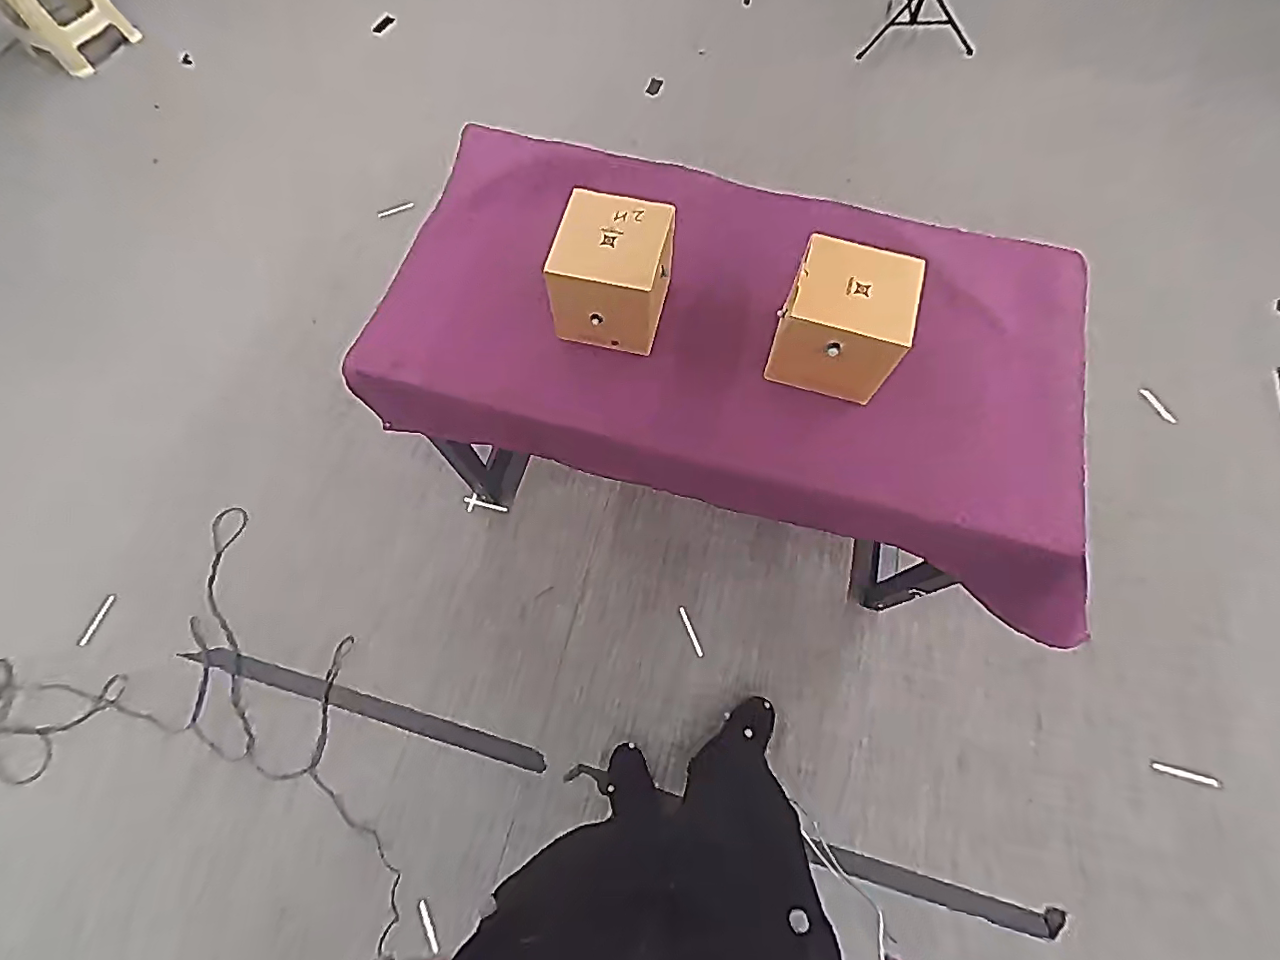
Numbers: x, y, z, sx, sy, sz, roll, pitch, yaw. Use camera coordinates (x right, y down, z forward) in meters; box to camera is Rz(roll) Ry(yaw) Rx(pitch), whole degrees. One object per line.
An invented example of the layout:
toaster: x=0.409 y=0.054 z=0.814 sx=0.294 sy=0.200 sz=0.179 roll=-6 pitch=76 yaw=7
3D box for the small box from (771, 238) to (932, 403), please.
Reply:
small box: x=0.326 y=-0.242 z=0.857 sx=0.179 sy=0.176 sz=0.168 roll=17 pitch=70 yaw=8

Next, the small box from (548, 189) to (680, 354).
small box: x=-0.036 y=-0.334 z=0.891 sx=0.168 sy=0.176 sz=0.179 roll=14 pitch=69 yaw=5
